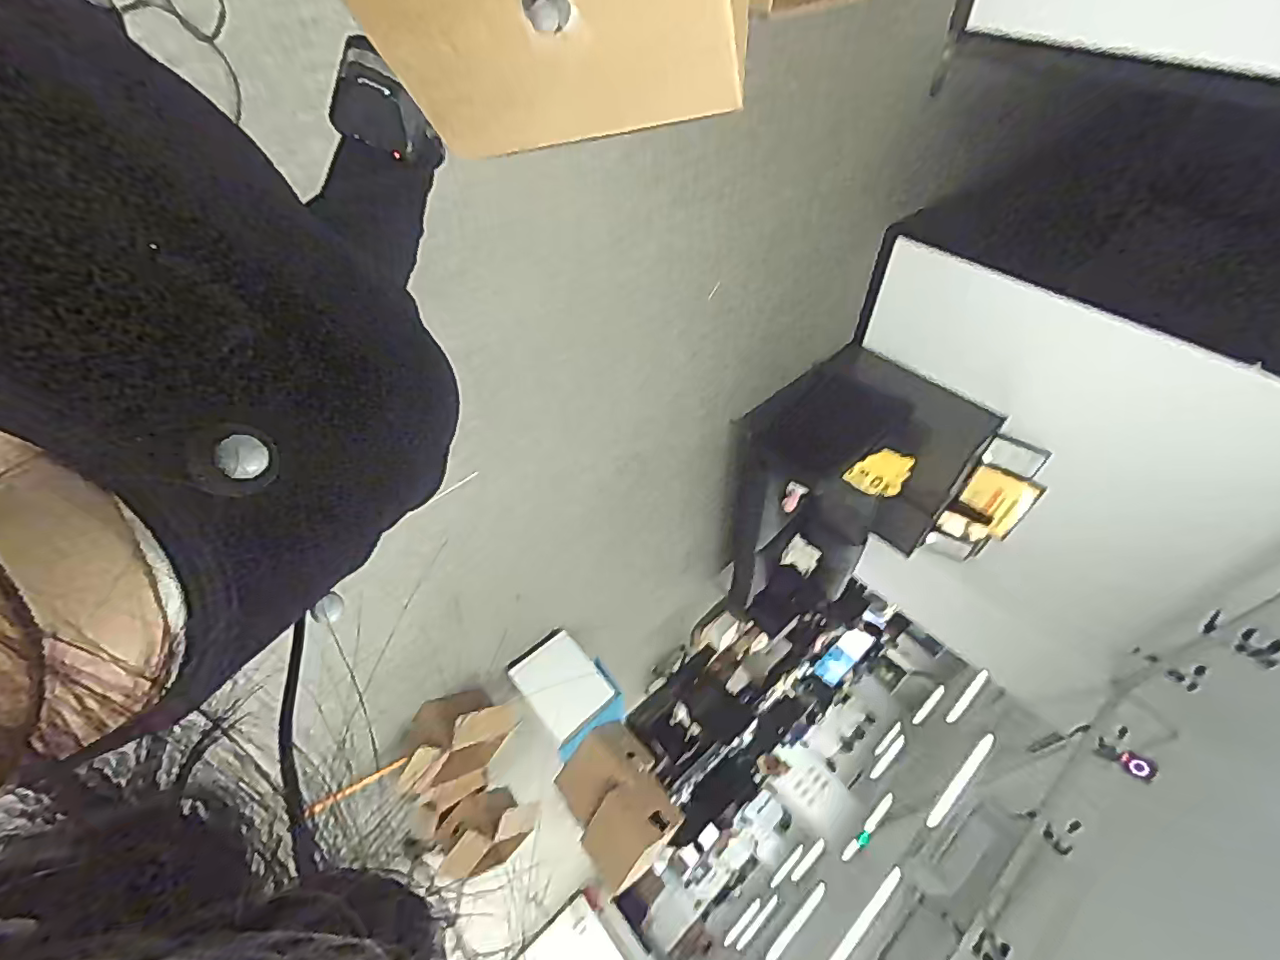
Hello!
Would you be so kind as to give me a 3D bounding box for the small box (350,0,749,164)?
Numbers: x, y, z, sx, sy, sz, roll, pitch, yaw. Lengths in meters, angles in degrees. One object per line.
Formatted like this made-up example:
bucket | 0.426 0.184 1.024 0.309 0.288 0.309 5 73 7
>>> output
small box | -0.043 -0.287 0.247 0.176 0.179 0.168 46 48 -68
